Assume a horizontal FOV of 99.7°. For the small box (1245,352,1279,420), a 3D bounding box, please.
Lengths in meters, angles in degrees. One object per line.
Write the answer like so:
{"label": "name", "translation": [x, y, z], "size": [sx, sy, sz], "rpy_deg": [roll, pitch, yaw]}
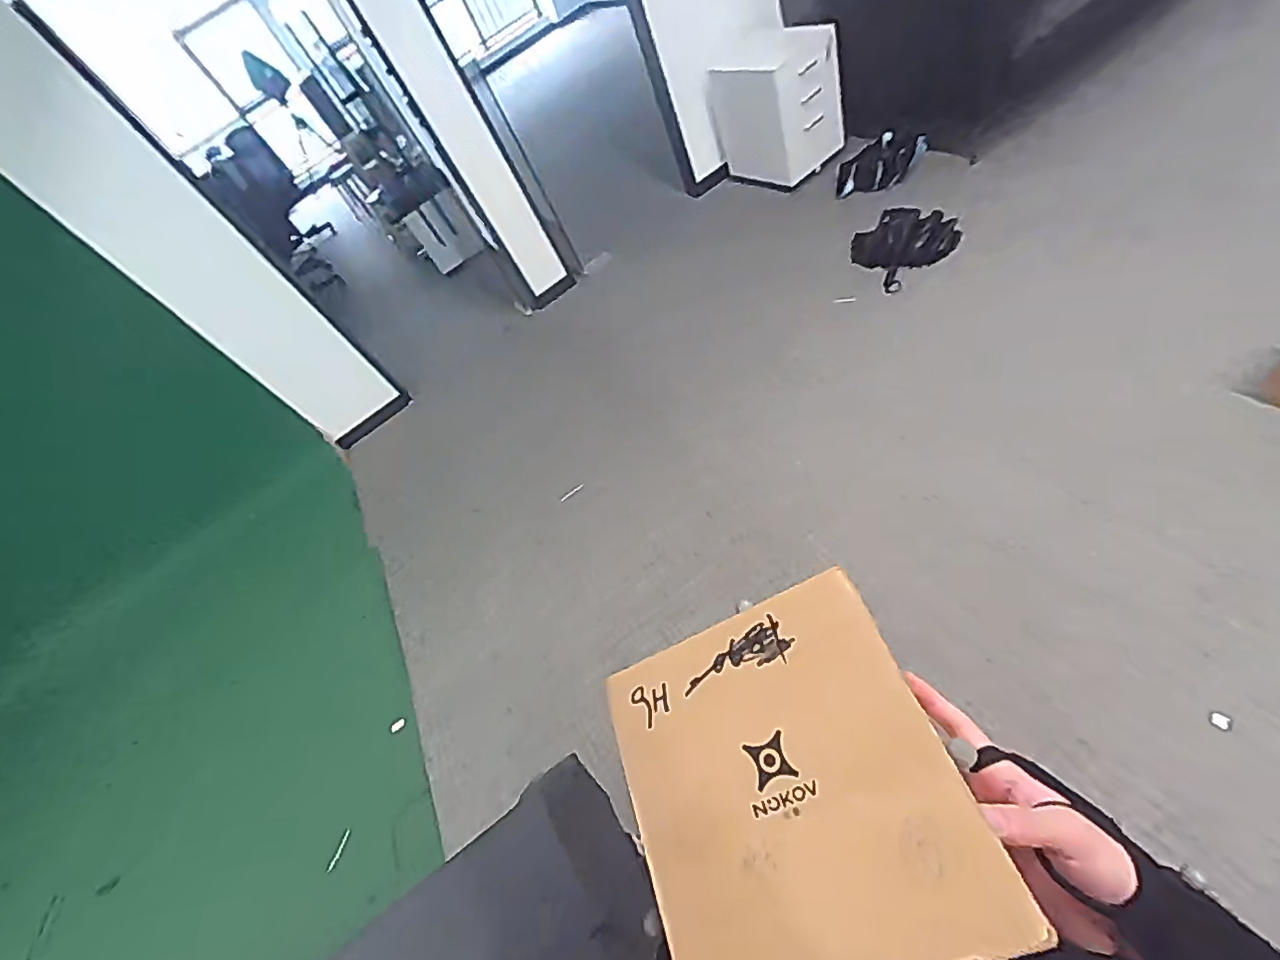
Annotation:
{"label": "small box", "translation": [1.732, -0.262, 1.388], "size": [0.179, 0.176, 0.168], "rpy_deg": [-42, 47, -9]}

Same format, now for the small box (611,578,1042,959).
{"label": "small box", "translation": [0.109, 0.192, 0.347], "size": [0.168, 0.176, 0.179], "rpy_deg": [-29, 54, 13]}
